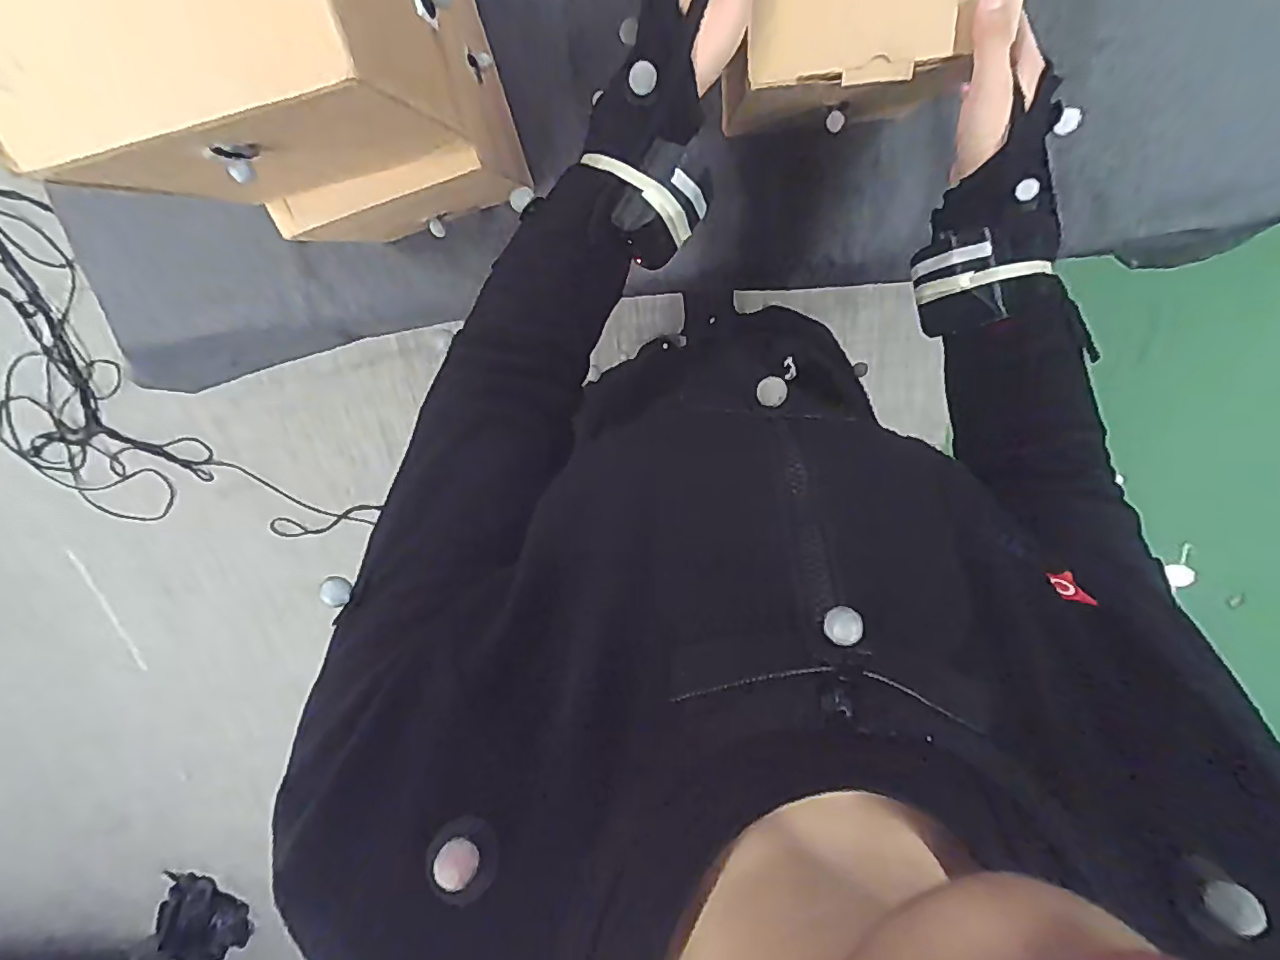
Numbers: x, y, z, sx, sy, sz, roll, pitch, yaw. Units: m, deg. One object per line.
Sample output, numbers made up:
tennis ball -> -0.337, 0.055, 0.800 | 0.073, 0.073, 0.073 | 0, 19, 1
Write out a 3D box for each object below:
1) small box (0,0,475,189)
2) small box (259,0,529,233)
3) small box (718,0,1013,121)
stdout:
small box -> -0.211, -0.260, 0.274 | 0.179, 0.176, 0.168 | -11, 114, 6
small box -> -0.206, -0.310, 0.429 | 0.168, 0.176, 0.179 | -14, 113, 9
small box -> 0.145, -0.375, 0.386 | 0.168, 0.176, 0.179 | -5, 114, 5
